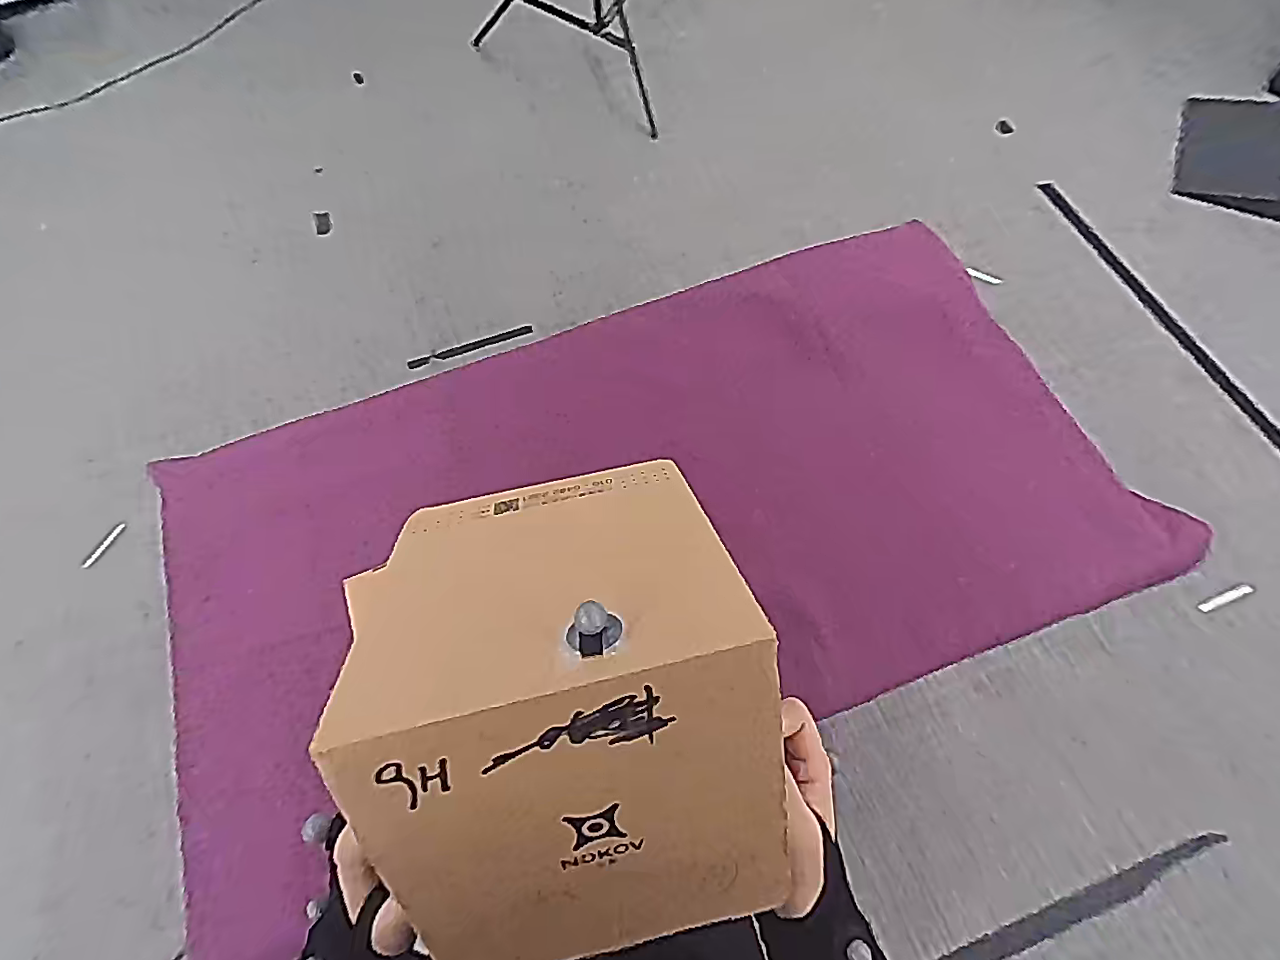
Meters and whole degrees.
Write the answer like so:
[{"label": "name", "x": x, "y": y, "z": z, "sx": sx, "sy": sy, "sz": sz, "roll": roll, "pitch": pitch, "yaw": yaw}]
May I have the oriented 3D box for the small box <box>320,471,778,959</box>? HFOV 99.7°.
[{"label": "small box", "x": -0.033, "y": 0.118, "z": 0.301, "sx": 0.168, "sy": 0.179, "sz": 0.176, "roll": -12, "pitch": 27, "yaw": -5}]
